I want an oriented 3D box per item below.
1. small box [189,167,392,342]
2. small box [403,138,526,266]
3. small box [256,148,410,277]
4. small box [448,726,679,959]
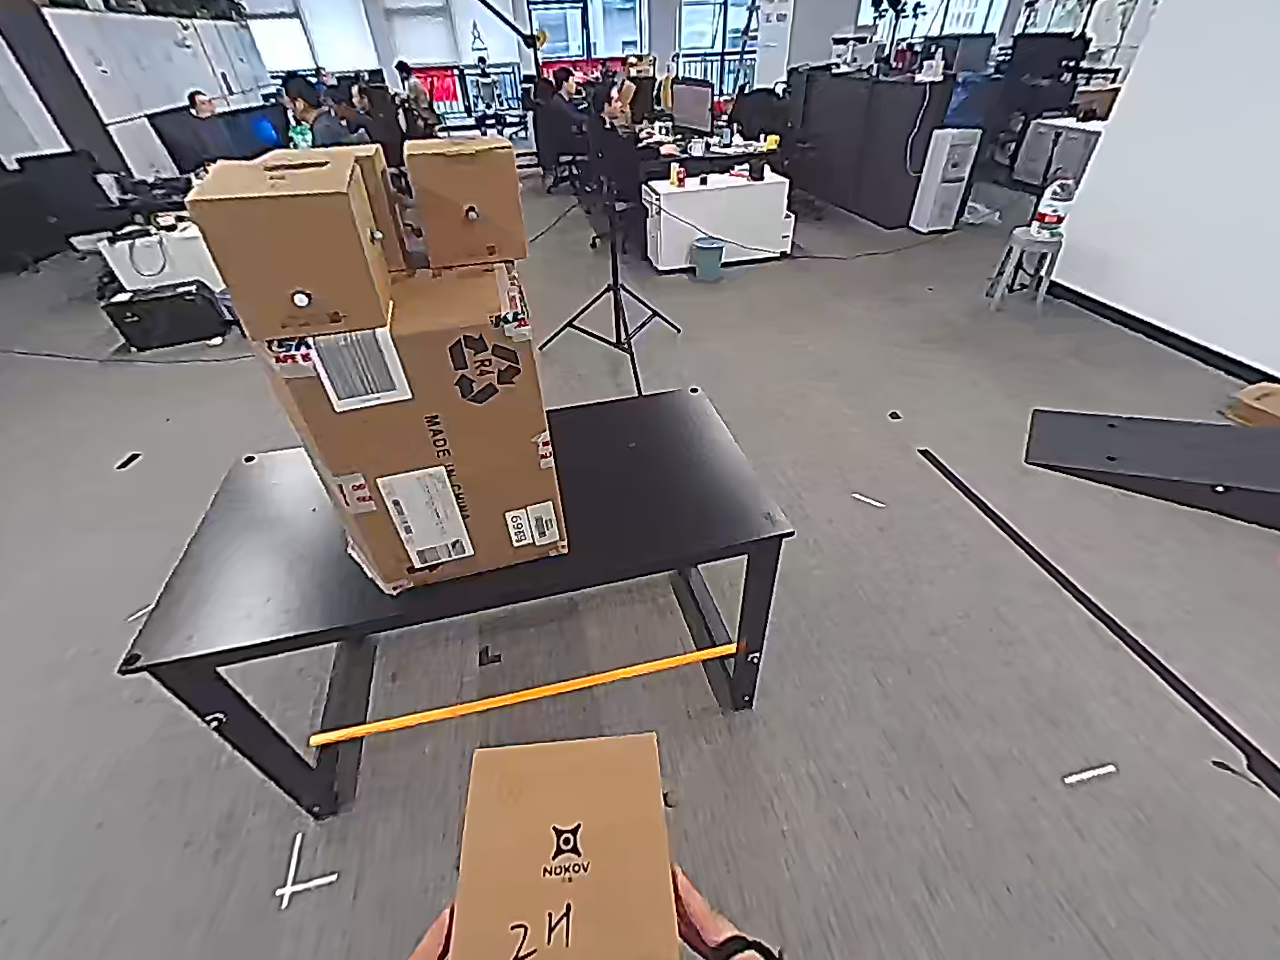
[{"bbox_3d":[-0.439,-0.301,0.716,0.168,0.176,0.179,-12,42,-14],"label":"small box"},{"bbox_3d":[-0.297,-0.474,0.929,0.168,0.176,0.179,-11,40,-14],"label":"small box"},{"bbox_3d":[-0.490,-0.438,0.892,0.168,0.176,0.179,-14,39,-14],"label":"small box"},{"bbox_3d":[-0.061,0.349,0.487,0.168,0.176,0.179,-4,44,-4],"label":"small box"}]
